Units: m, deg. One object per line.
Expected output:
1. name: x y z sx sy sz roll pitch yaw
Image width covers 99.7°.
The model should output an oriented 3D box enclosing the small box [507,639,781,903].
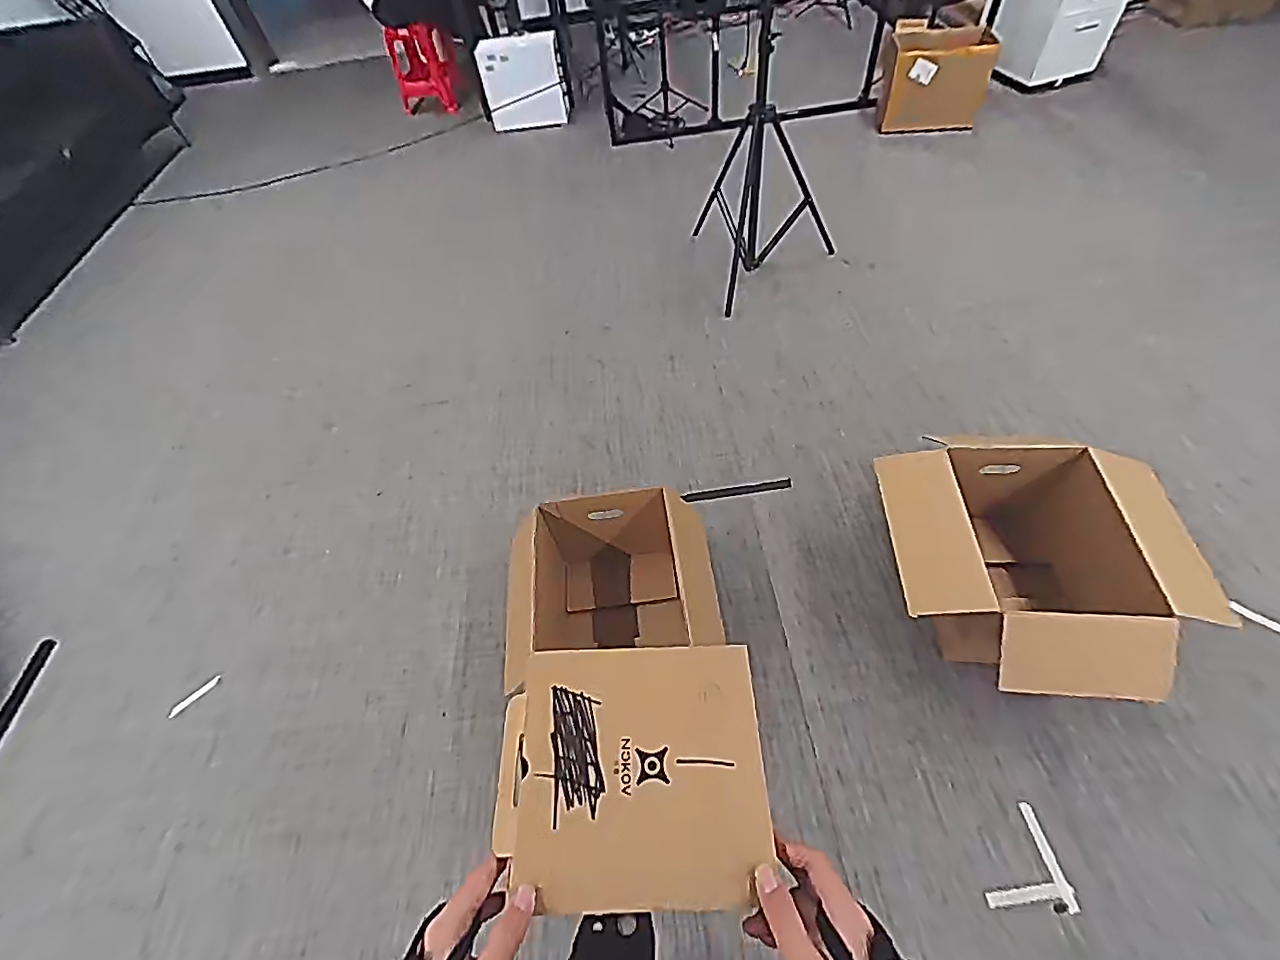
1. small box: 0.003 0.241 0.446 0.179 0.176 0.168 -2 55 0
